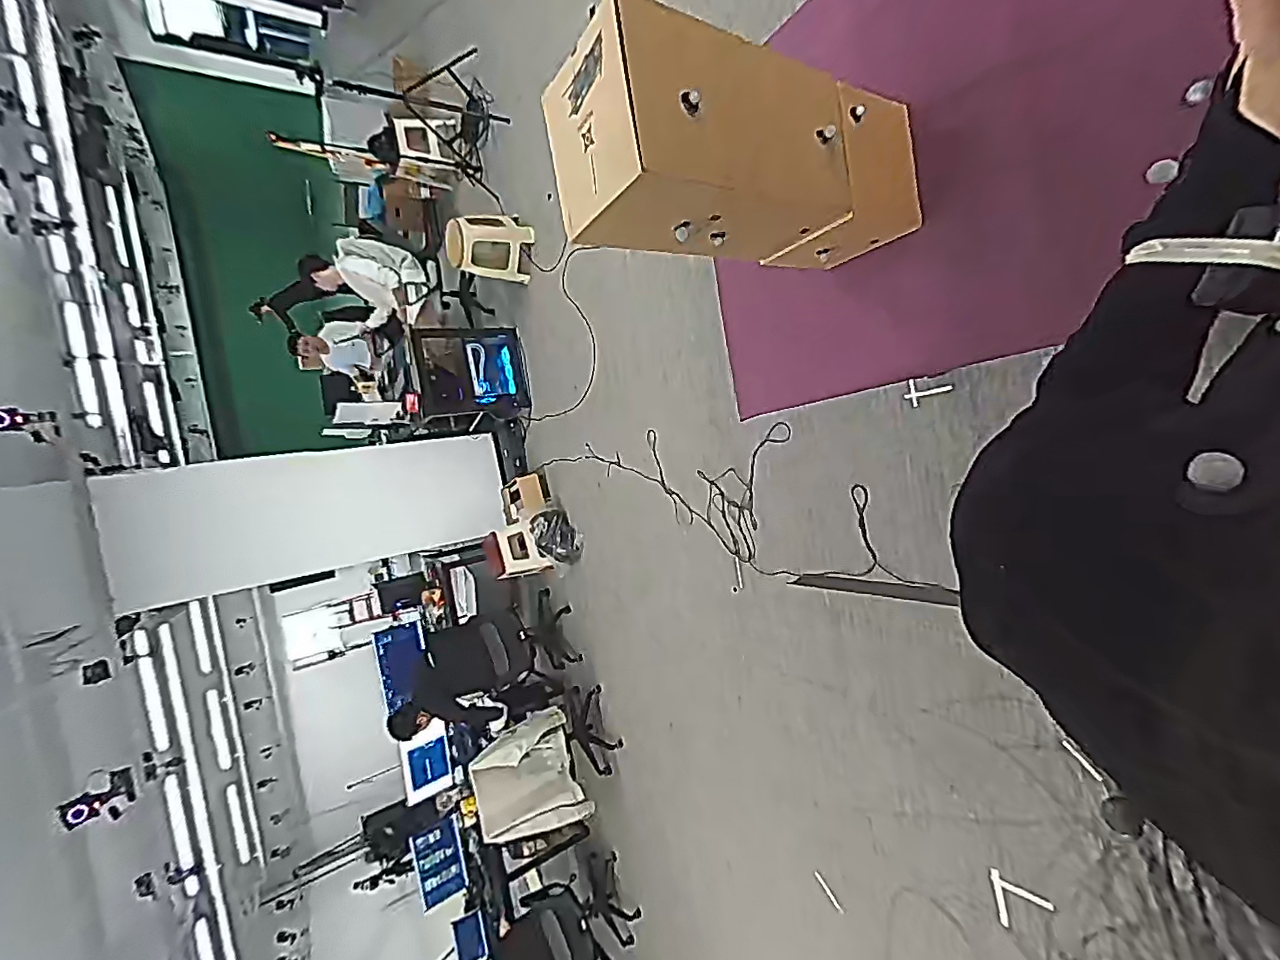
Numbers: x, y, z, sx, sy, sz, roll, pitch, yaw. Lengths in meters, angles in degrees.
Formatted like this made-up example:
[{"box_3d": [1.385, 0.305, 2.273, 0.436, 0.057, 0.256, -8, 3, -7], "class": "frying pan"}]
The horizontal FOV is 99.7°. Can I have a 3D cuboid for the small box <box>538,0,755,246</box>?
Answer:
[{"box_3d": [0.007, -0.386, 0.612, 0.168, 0.176, 0.179, -5, 96, 57], "class": "small box"}]

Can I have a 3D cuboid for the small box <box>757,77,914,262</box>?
[{"box_3d": [0.276, -0.436, 0.794, 0.168, 0.176, 0.179, -5, 95, 57], "class": "small box"}]

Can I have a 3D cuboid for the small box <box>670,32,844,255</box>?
[{"box_3d": [0.140, -0.415, 0.705, 0.168, 0.176, 0.179, -6, 94, 57], "class": "small box"}]
